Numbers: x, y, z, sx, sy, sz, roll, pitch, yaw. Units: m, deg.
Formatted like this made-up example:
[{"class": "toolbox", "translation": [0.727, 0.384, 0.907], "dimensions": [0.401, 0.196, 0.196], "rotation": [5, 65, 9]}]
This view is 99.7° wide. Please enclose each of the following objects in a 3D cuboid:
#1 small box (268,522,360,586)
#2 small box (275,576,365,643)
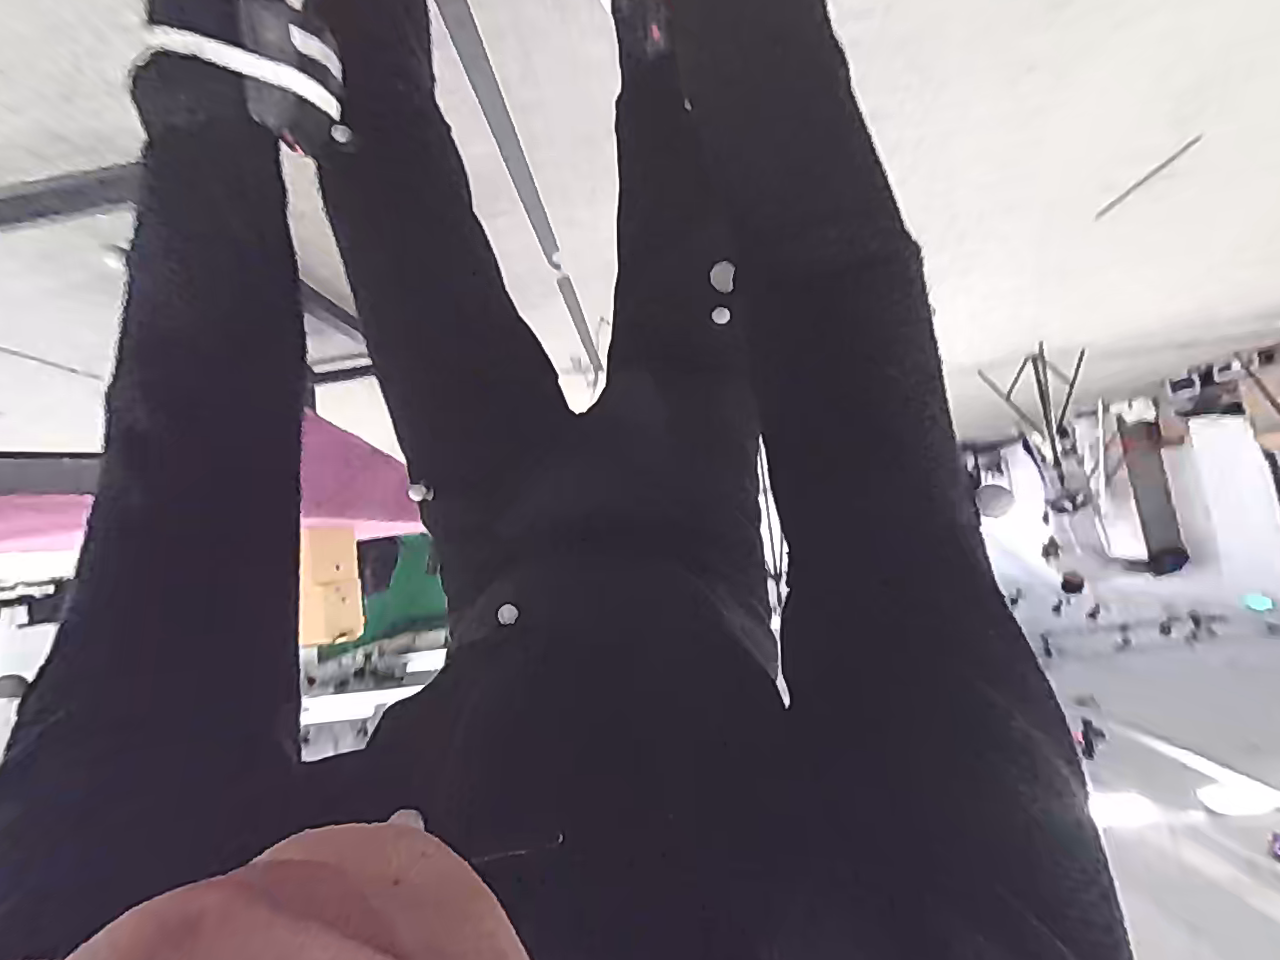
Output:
[{"class": "small box", "translation": [-0.972, 0.218, 1.618], "dimensions": [0.168, 0.176, 0.179], "rotation": [-9, 173, 14]}, {"class": "small box", "translation": [-0.957, 0.383, 1.622], "dimensions": [0.179, 0.176, 0.168], "rotation": [-8, 174, 9]}]
